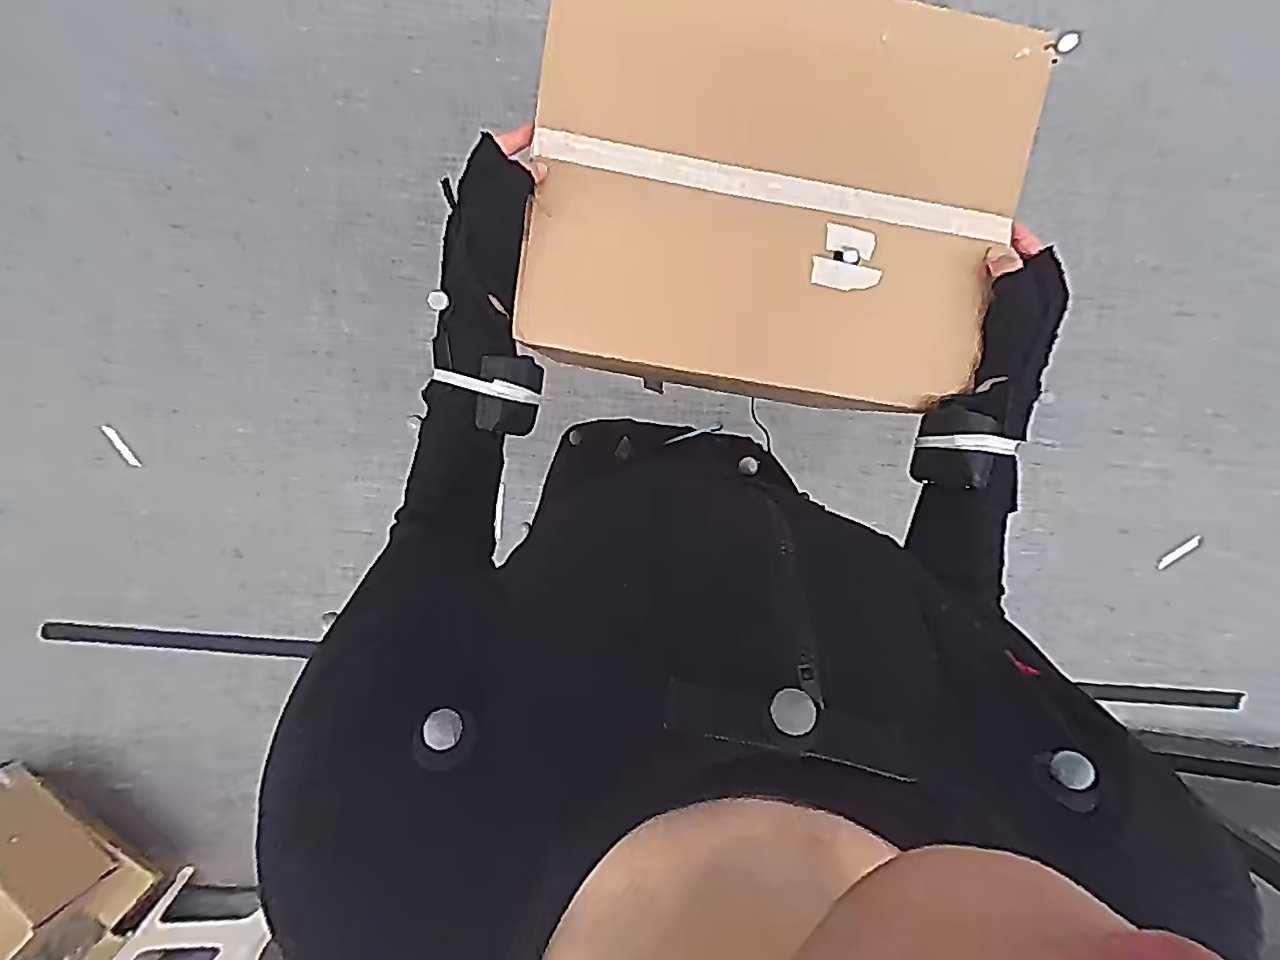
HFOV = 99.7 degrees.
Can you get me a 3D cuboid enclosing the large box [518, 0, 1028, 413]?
[{"bbox_3d":[0.100,-0.260,0.606,0.408,0.320,0.320,9,100,-5],"label":"large box"}]
